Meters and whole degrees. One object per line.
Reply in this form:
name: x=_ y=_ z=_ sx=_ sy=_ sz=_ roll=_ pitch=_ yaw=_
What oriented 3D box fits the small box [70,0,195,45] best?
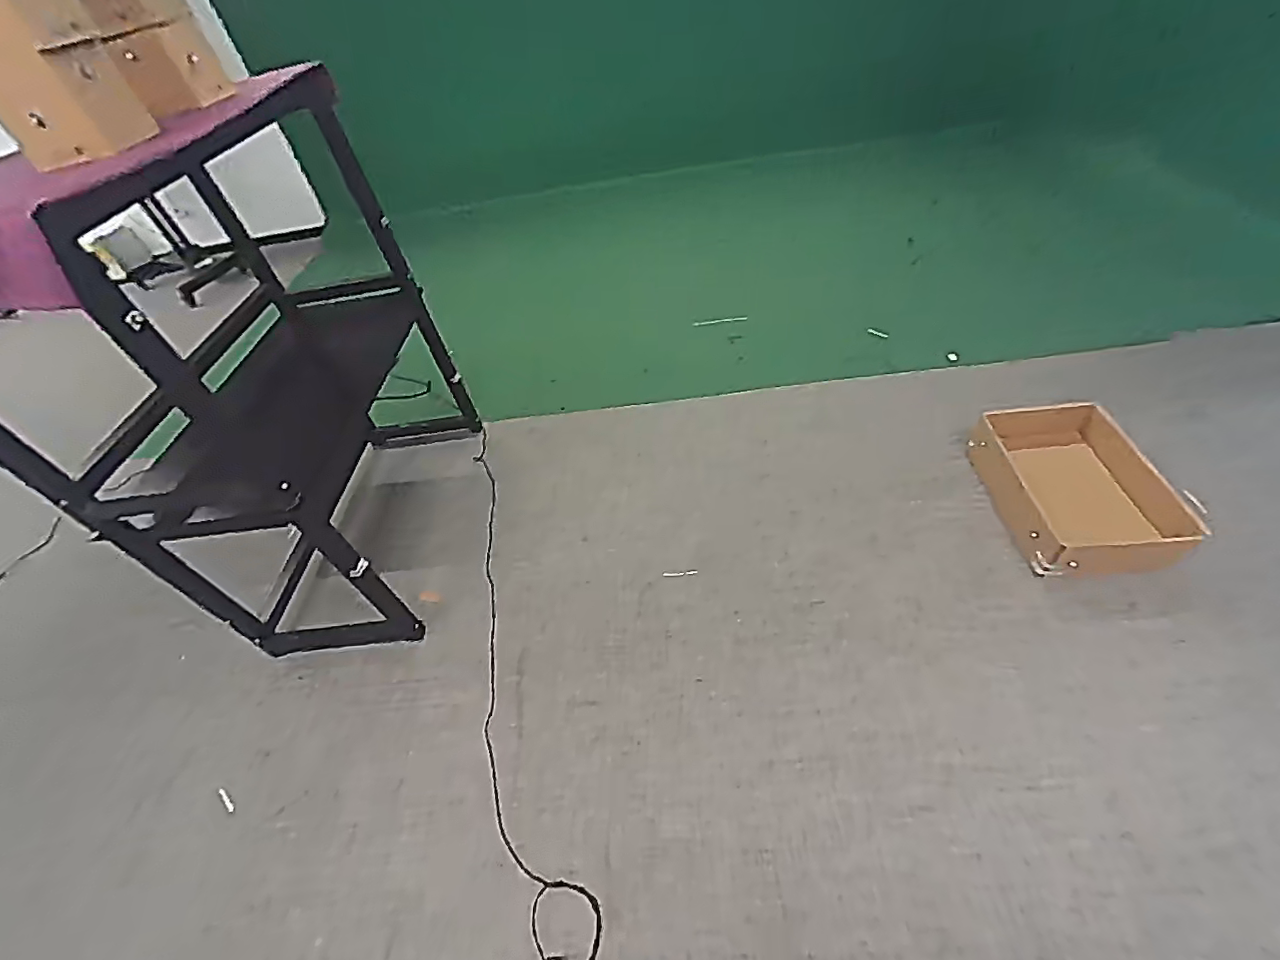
small box: x=-1.215 y=-1.154 z=1.274 sx=0.168 sy=0.176 sz=0.179 roll=-7 pitch=46 yaw=6

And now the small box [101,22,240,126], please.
small box: x=-1.194 y=-1.044 z=1.393 sx=0.179 sy=0.176 sz=0.168 roll=-5 pitch=46 yaw=9

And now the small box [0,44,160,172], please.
small box: x=-1.127 y=-0.734 z=1.076 sx=0.168 sy=0.176 sz=0.179 roll=-10 pitch=45 yaw=3
